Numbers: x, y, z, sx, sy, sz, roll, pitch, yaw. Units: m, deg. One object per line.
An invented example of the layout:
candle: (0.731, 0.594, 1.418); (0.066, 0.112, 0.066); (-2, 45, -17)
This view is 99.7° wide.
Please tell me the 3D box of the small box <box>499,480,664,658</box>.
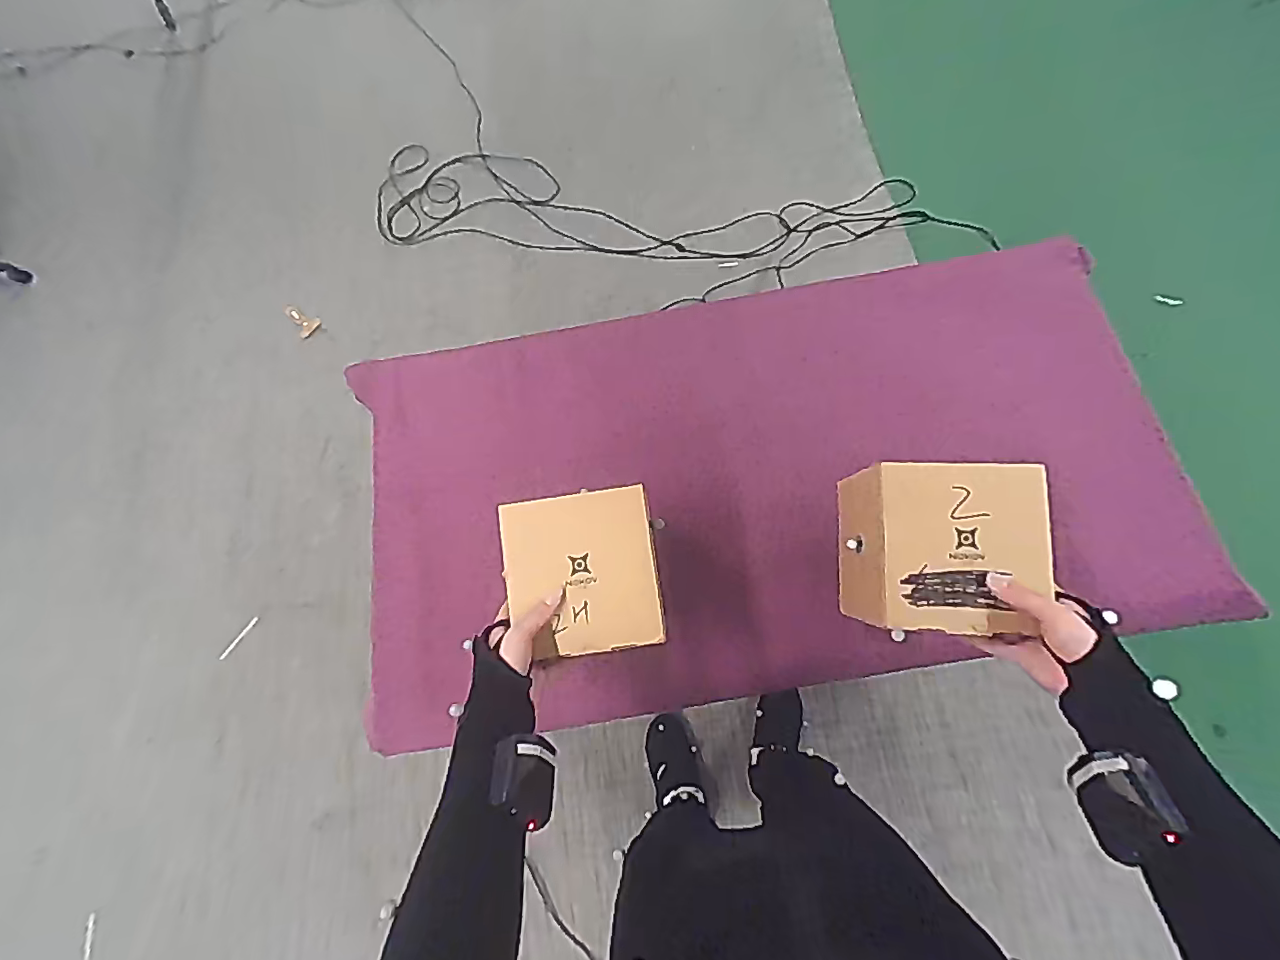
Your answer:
small box: (-0.064, 0.106, 0.663); (0.168, 0.176, 0.179); (-8, 83, 1)
